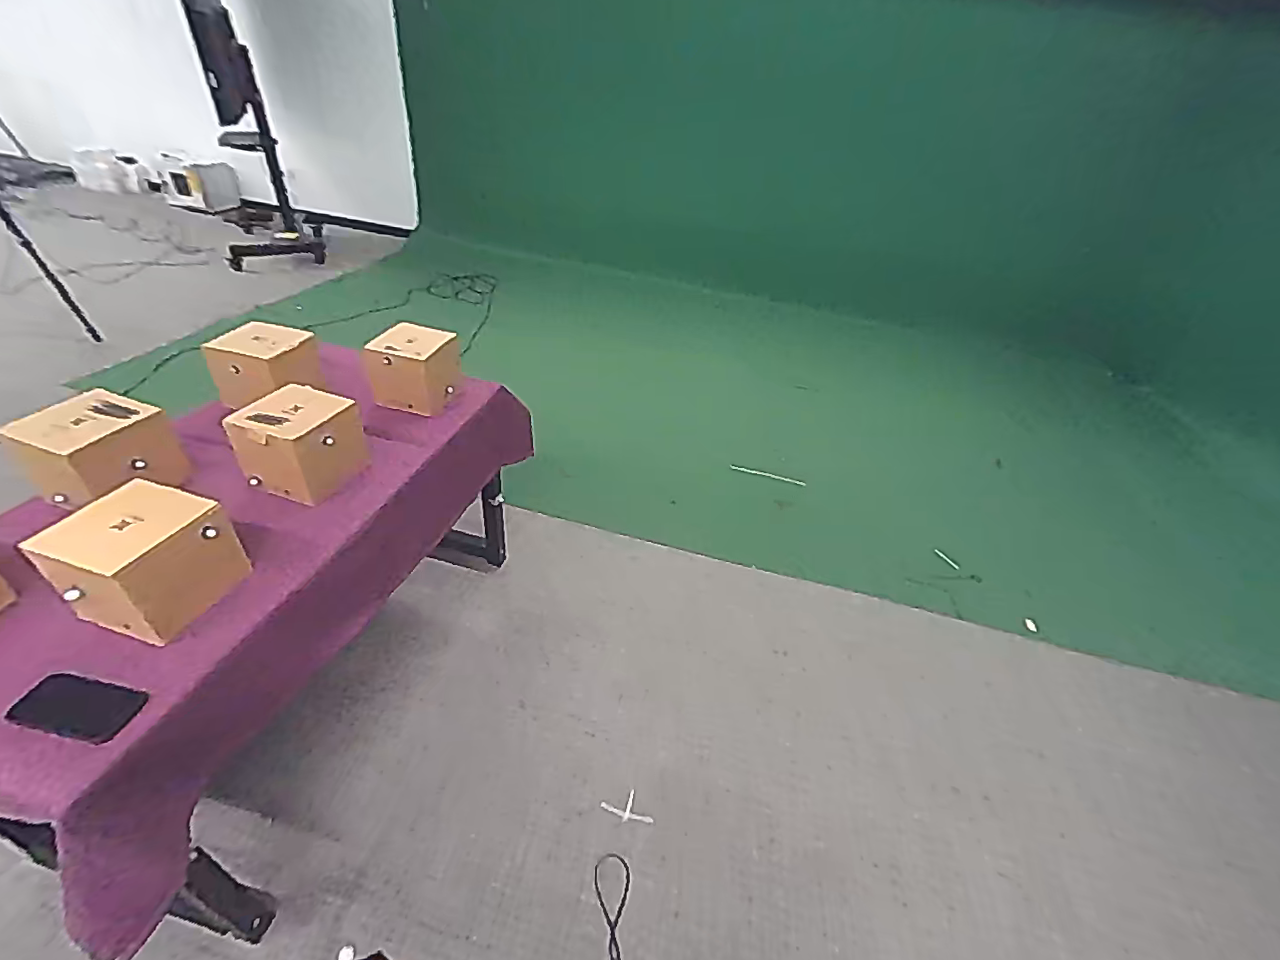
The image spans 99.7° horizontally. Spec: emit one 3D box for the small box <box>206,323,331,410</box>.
[{"bbox_3d":[-0.926,-0.275,1.365,0.179,0.176,0.168,13,38,5],"label":"small box"}]

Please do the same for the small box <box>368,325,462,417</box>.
[{"bbox_3d":[-0.592,-0.293,1.450,0.168,0.176,0.179,13,38,7],"label":"small box"}]

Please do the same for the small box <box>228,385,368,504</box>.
[{"bbox_3d":[-0.710,-0.074,1.149,0.168,0.176,0.179,16,37,10],"label":"small box"}]

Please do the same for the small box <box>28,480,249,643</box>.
[{"bbox_3d":[-0.785,0.132,0.872,0.168,0.176,0.179,15,37,9],"label":"small box"}]
